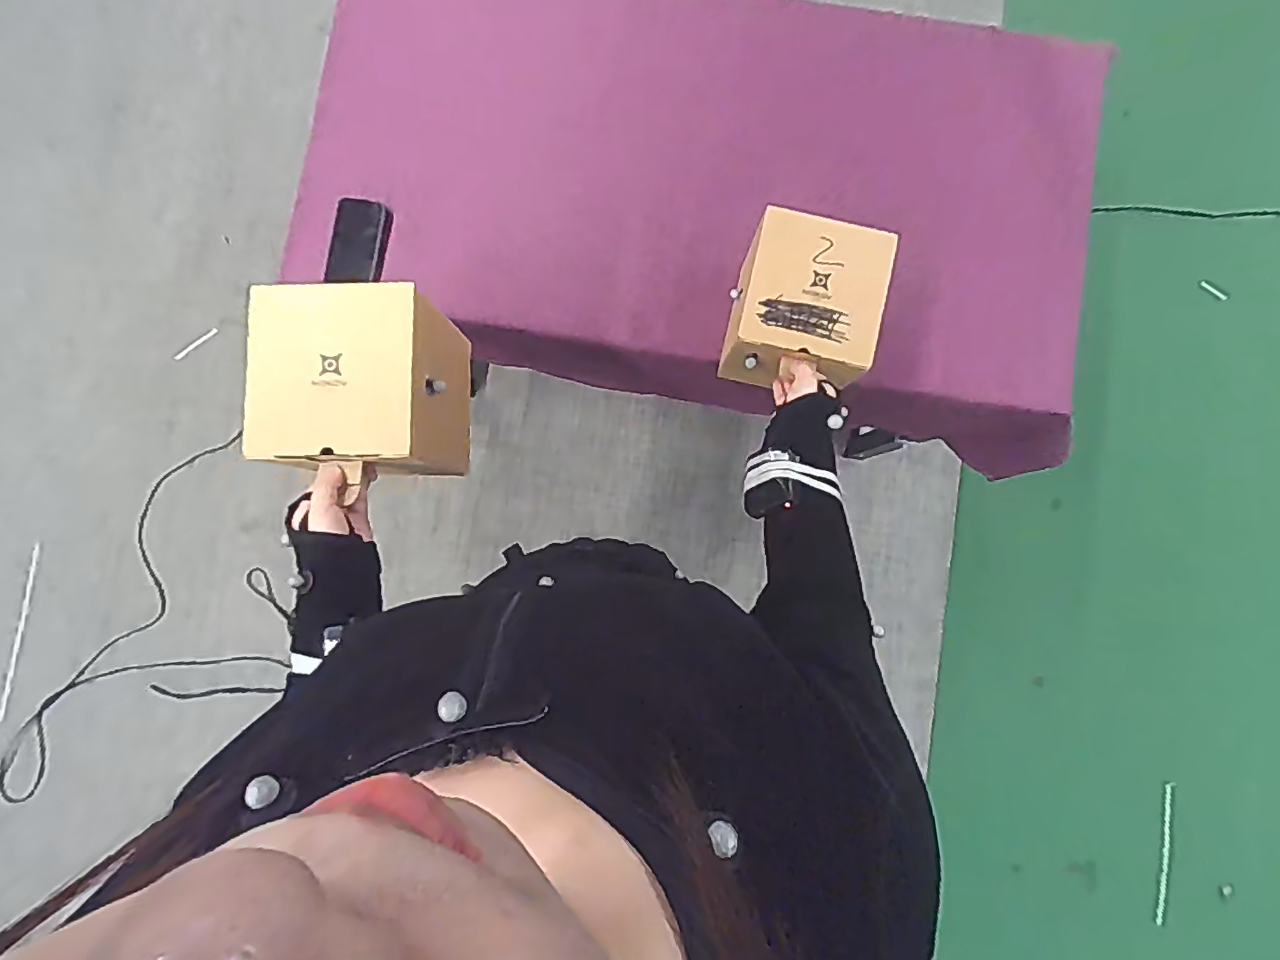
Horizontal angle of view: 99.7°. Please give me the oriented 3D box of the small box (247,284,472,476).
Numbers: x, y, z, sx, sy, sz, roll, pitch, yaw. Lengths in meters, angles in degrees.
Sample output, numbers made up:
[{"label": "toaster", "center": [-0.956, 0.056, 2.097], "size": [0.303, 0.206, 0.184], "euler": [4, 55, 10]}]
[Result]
[{"label": "small box", "center": [-0.295, -0.100, 0.606], "size": [0.168, 0.176, 0.179], "euler": [0, 86, 0]}]
